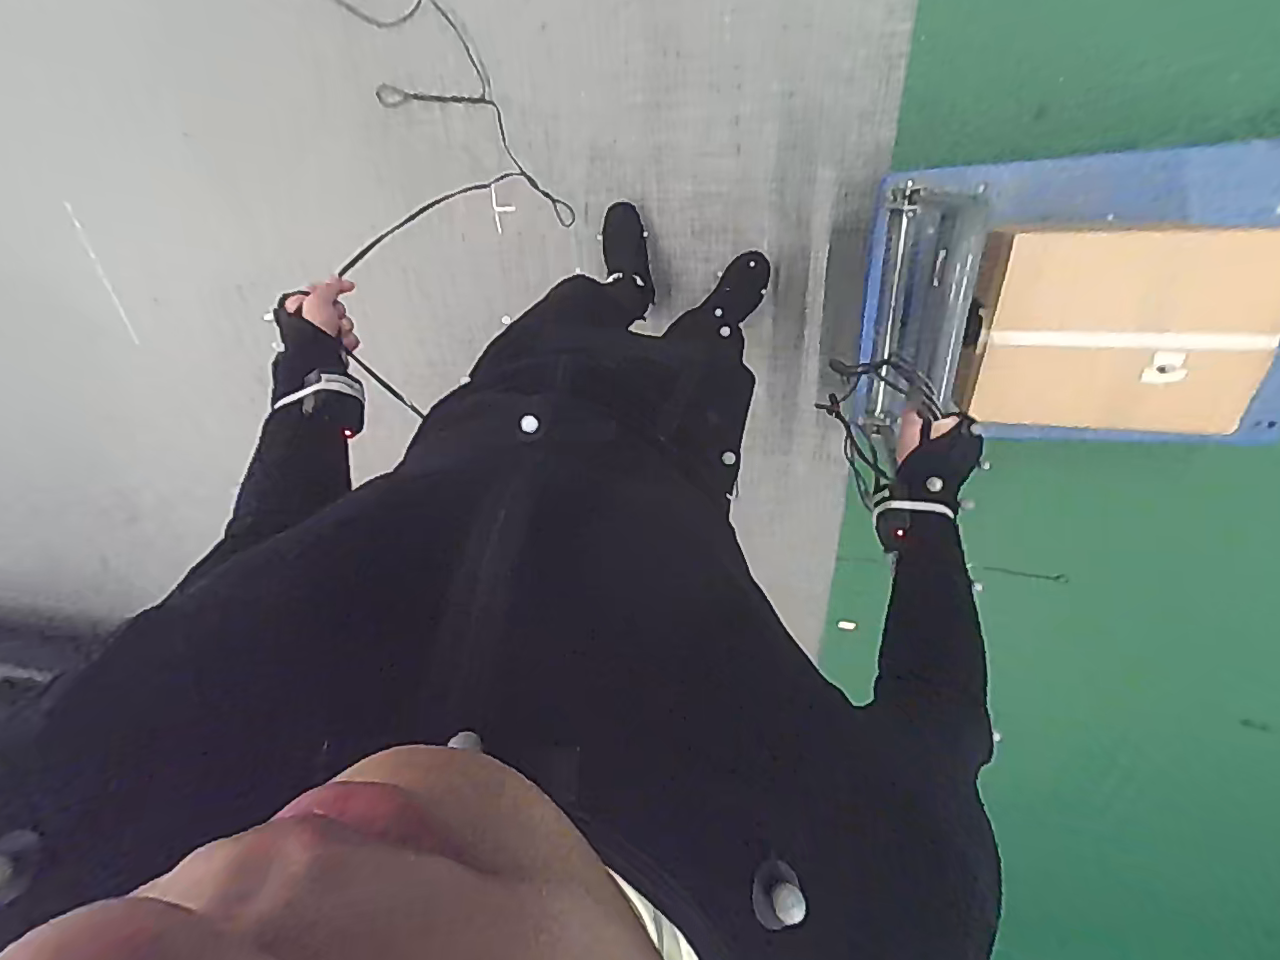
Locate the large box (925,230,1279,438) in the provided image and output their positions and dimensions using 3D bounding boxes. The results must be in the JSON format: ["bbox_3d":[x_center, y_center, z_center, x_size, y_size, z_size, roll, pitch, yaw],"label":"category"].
[{"bbox_3d":[0.804,-0.285,0.998,0.408,0.320,0.320,5,119,11],"label":"large box"}]
